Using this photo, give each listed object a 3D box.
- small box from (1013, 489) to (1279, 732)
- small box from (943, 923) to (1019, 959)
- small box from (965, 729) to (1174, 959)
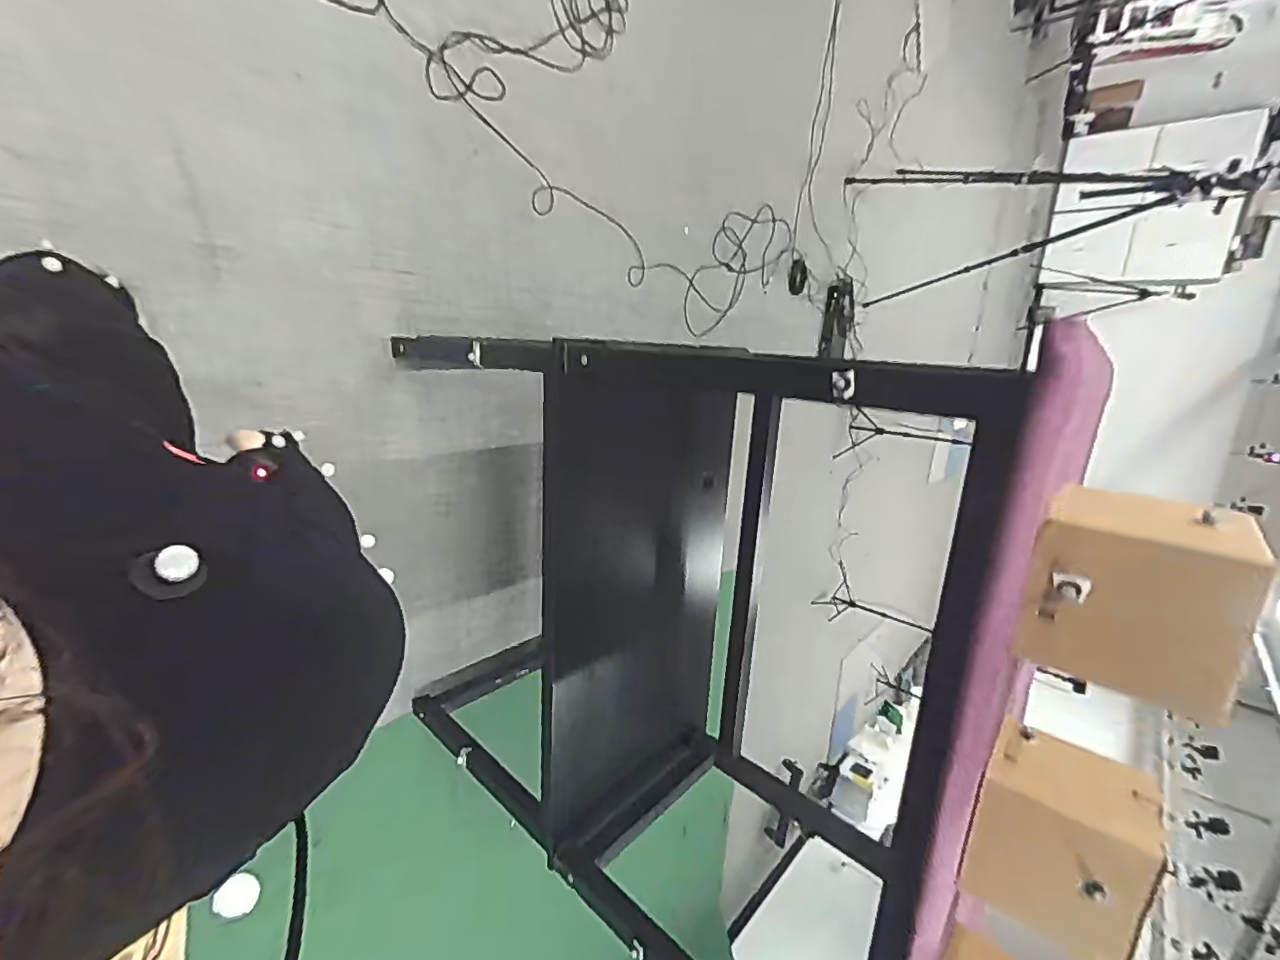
[{"bbox_3d":[0.524,0.116,0.572,0.179,0.176,0.168,-16,113,-43],"label":"small box"},{"bbox_3d":[0.507,0.799,0.766,0.179,0.176,0.168,-9,107,-49],"label":"small box"},{"bbox_3d":[0.531,0.449,0.684,0.168,0.176,0.179,-12,111,-47],"label":"small box"}]
